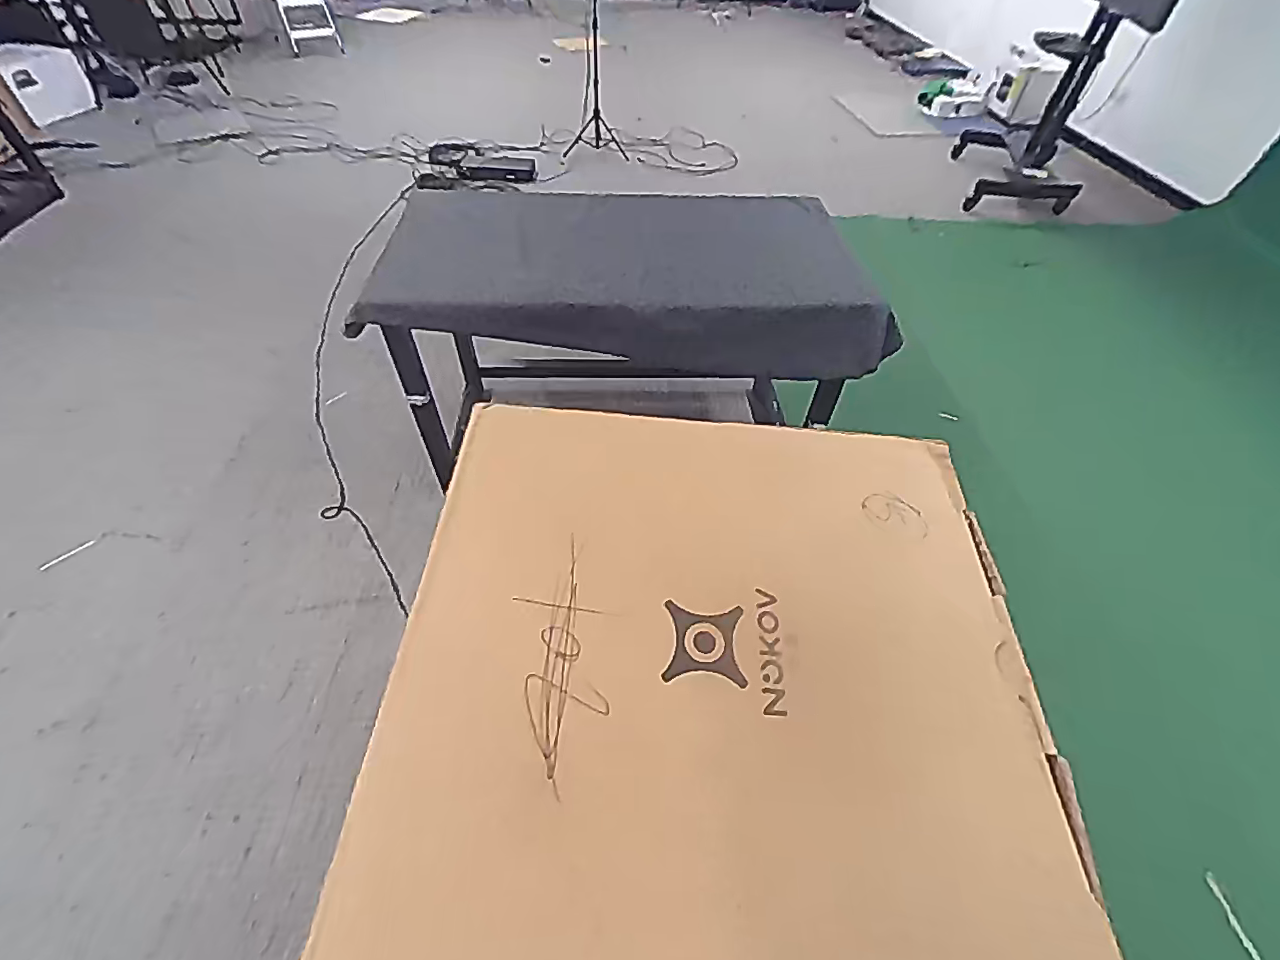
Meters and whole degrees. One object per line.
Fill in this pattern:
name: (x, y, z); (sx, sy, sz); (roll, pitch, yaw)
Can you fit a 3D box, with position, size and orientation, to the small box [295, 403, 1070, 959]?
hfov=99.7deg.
small box: (0.012, 0.089, 0.228); (0.179, 0.176, 0.168); (3, 54, 1)
